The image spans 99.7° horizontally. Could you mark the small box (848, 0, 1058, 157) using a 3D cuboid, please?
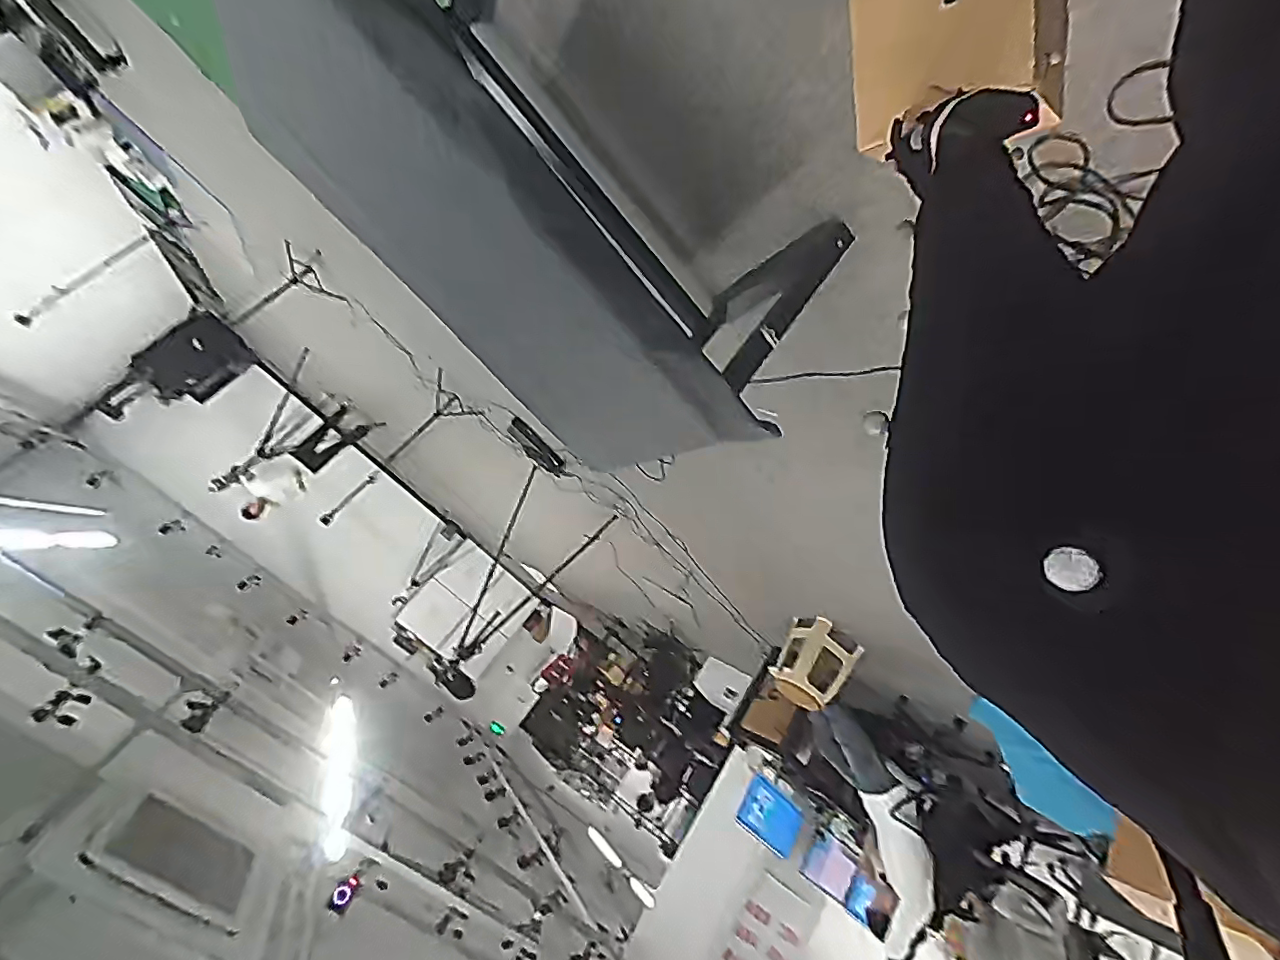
[{"bbox_3d":[0.343,-0.477,0.590,0.168,0.179,0.176,4,111,44],"label":"small box"}]
